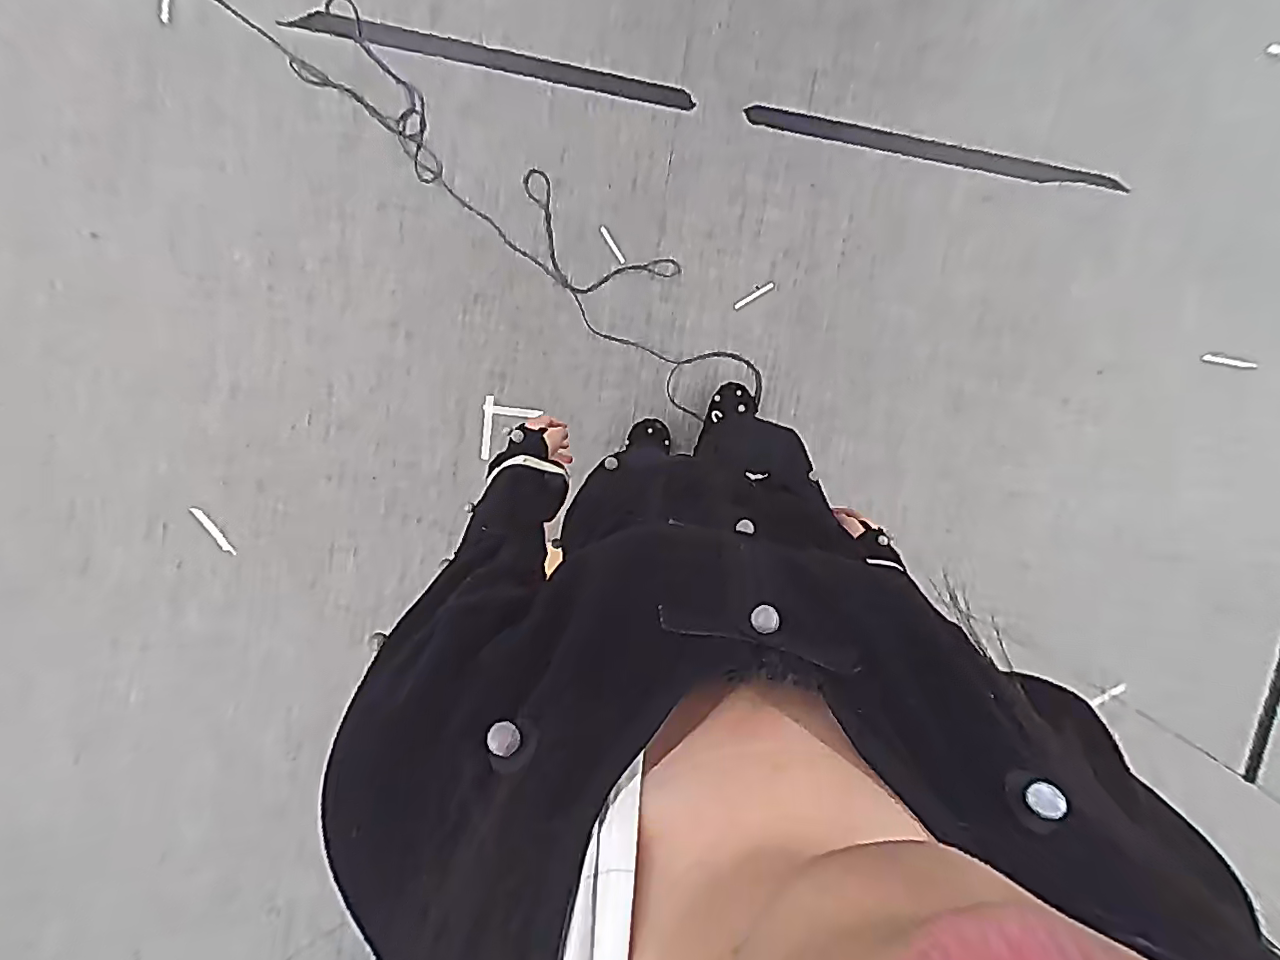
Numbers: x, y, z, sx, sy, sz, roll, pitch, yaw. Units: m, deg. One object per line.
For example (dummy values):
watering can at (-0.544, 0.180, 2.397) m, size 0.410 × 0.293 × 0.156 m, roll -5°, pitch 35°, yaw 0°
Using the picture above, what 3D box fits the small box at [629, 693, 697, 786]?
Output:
small box at (0.058, 0.700, 1.474) m, size 0.168 × 0.176 × 0.179 m, roll 2°, pitch 96°, yaw -3°
